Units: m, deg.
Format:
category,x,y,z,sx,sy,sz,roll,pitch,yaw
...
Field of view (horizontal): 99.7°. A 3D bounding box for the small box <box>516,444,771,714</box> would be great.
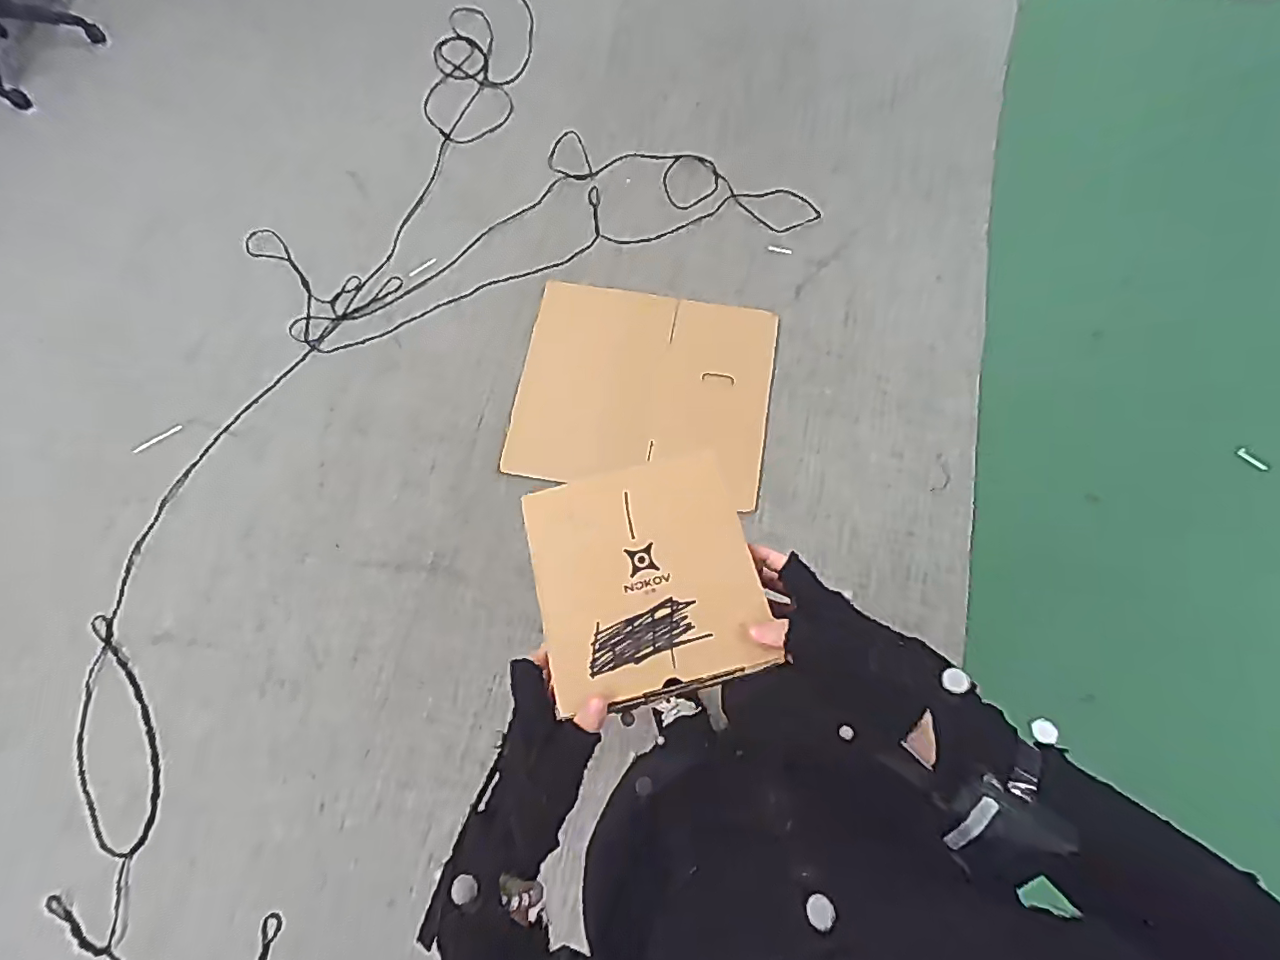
category,x,y,z,sx,sy,sz,roll,pitch,yaw
small box,0.004,0.097,0.483,0.168,0.176,0.179,-15,66,-2
